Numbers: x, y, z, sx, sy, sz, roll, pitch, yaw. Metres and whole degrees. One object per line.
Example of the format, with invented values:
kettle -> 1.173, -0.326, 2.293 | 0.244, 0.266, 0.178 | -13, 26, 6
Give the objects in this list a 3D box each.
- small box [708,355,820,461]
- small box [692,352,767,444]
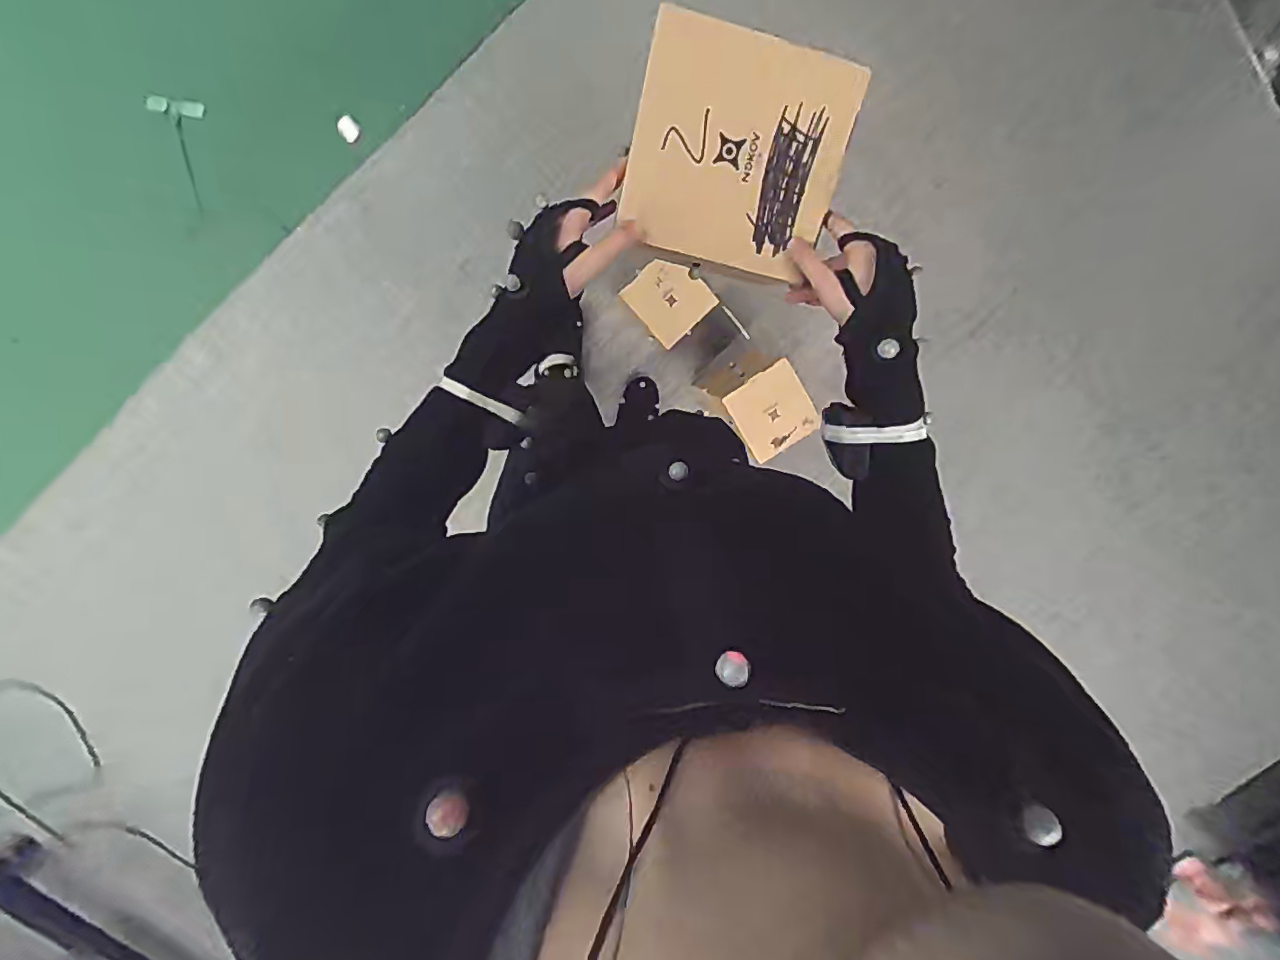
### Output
small box -> 0.273, -0.166, 1.234 | 0.168, 0.176, 0.179 | -32, 102, 4
small box -> 0.255, -0.216, 1.390 | 0.179, 0.176, 0.168 | -32, 103, 4
